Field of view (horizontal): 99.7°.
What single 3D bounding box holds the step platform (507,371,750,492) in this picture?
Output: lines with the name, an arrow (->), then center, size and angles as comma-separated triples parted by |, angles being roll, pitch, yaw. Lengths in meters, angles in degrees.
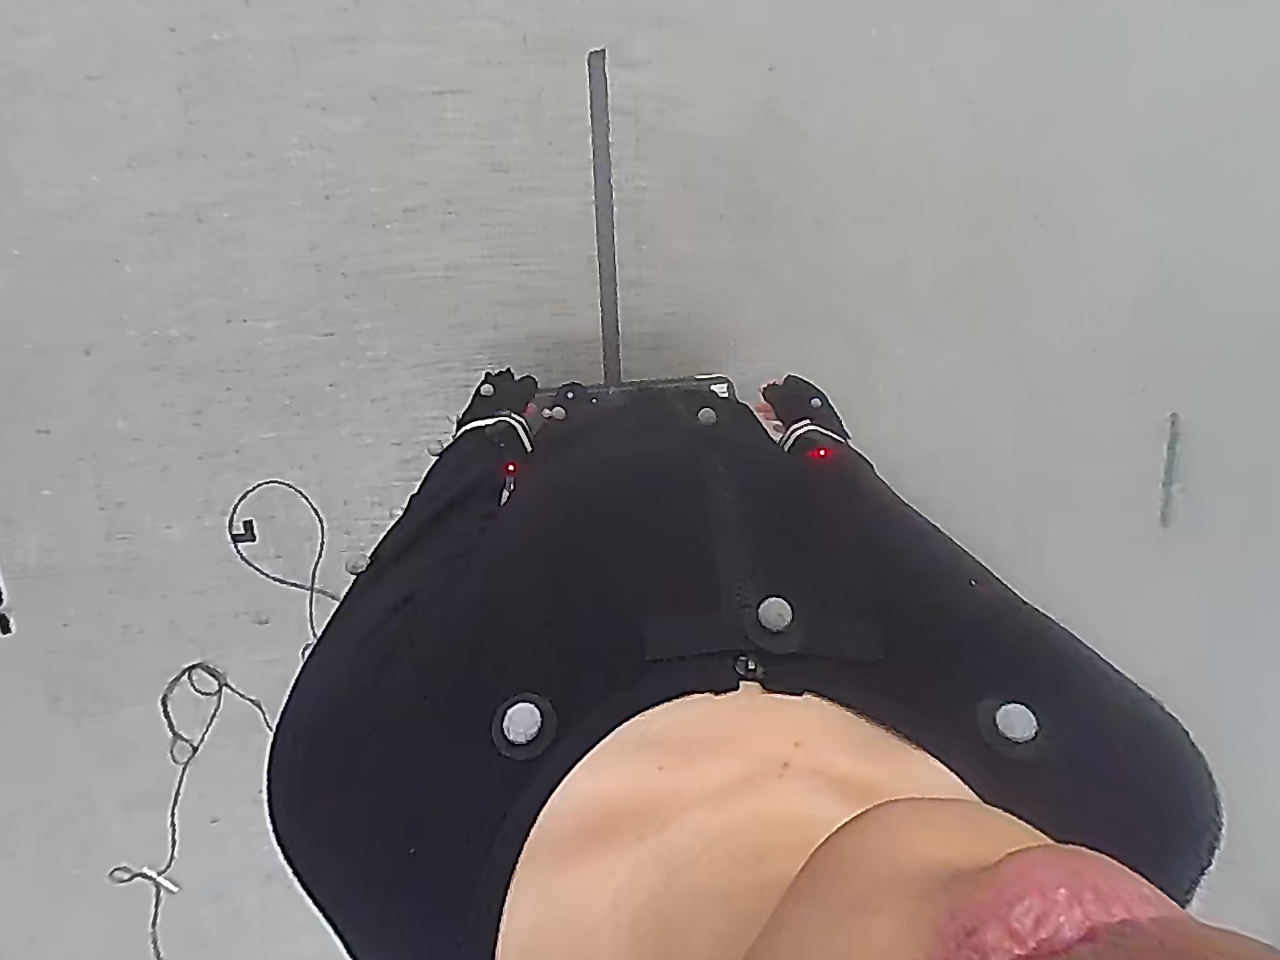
step platform -> -0.032, -0.143, 1.552 | 0.684, 0.204, 0.286 | -6, 101, -4
